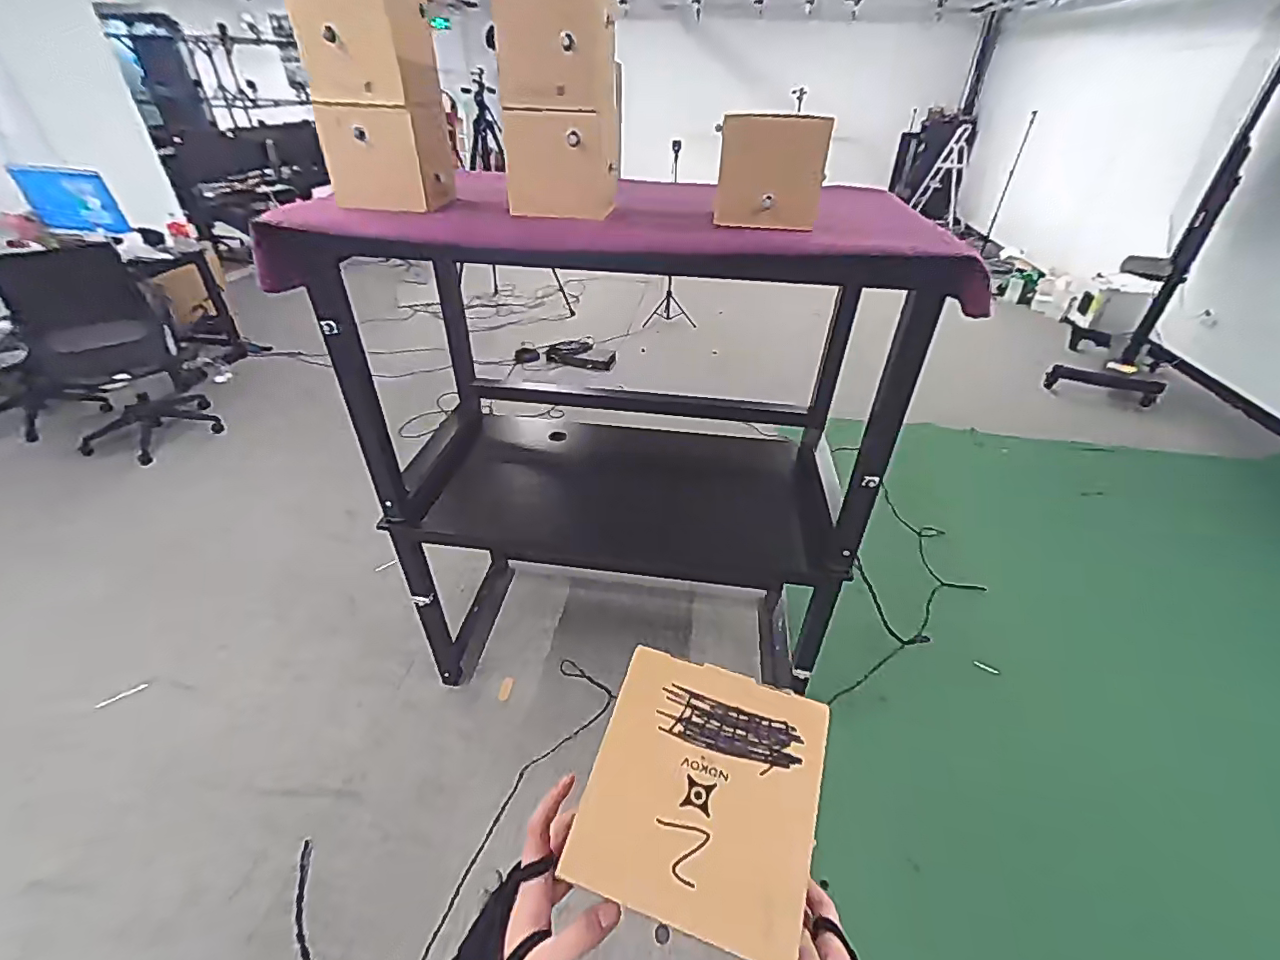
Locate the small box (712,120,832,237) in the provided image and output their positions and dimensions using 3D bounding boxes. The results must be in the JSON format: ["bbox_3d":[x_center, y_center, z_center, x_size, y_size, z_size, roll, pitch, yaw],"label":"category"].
[{"bbox_3d":[0.230,-0.545,0.977,0.179,0.176,0.168,6,34,6],"label":"small box"}]

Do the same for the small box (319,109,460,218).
[{"bbox_3d":[-0.468,-0.609,1.040,0.179,0.176,0.168,5,36,2],"label":"small box"}]

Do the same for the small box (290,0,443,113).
[{"bbox_3d":[-0.463,-0.744,0.950,0.168,0.176,0.179,3,35,2],"label":"small box"}]

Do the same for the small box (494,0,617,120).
[{"bbox_3d":[-0.134,-0.721,0.930,0.168,0.176,0.179,7,35,5],"label":"small box"}]

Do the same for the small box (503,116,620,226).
[{"bbox_3d":[-0.138,-0.584,1.018,0.179,0.176,0.168,6,35,6],"label":"small box"}]
